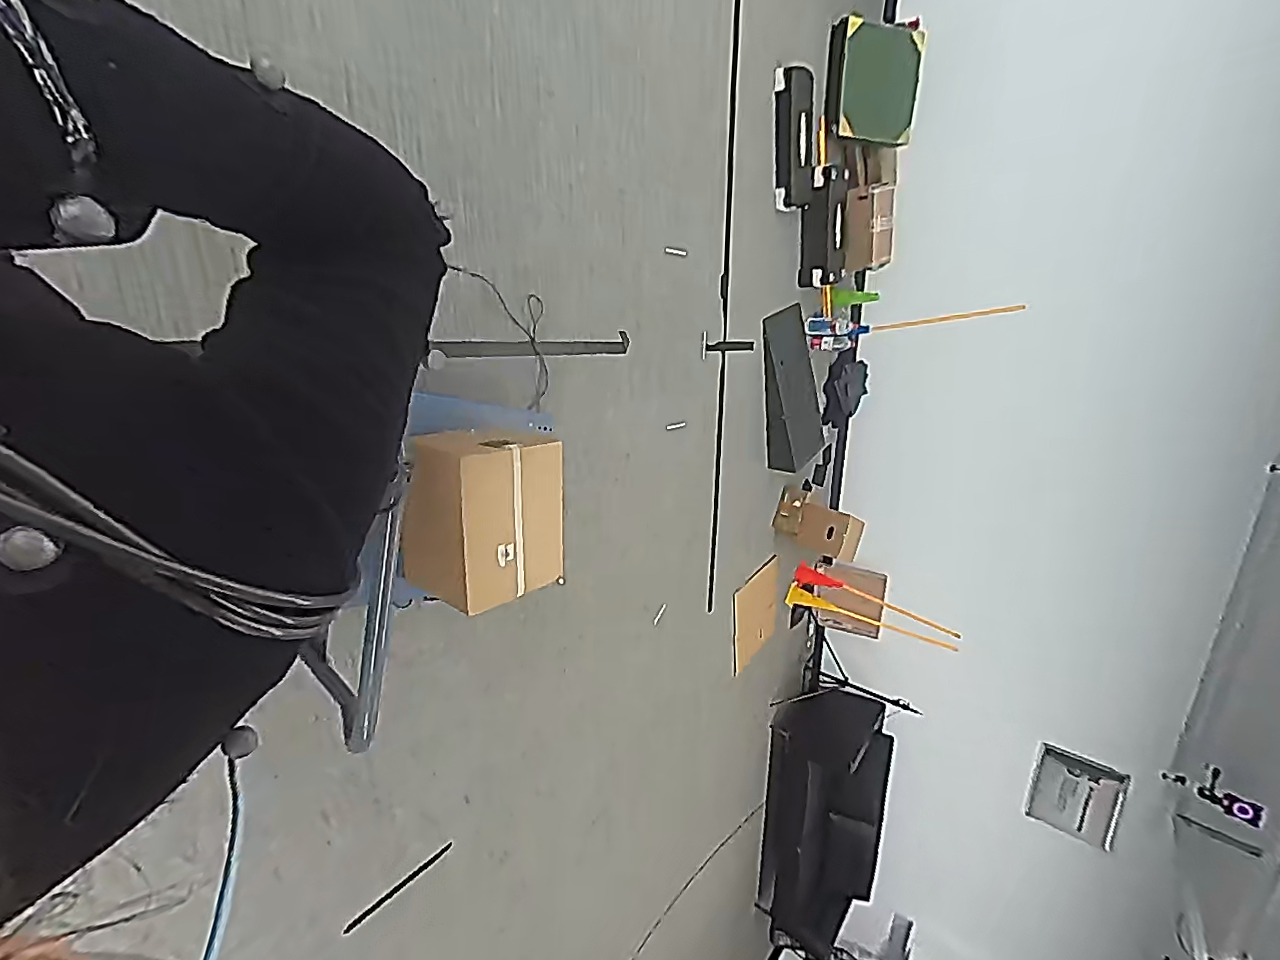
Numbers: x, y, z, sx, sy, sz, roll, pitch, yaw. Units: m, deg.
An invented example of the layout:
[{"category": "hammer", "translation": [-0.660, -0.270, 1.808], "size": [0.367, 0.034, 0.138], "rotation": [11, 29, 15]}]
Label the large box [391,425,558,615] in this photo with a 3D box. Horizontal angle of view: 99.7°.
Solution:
[{"category": "large box", "translation": [-0.438, 0.083, 1.462], "size": [0.320, 0.320, 0.408], "rotation": [-15, 113, -48]}]
